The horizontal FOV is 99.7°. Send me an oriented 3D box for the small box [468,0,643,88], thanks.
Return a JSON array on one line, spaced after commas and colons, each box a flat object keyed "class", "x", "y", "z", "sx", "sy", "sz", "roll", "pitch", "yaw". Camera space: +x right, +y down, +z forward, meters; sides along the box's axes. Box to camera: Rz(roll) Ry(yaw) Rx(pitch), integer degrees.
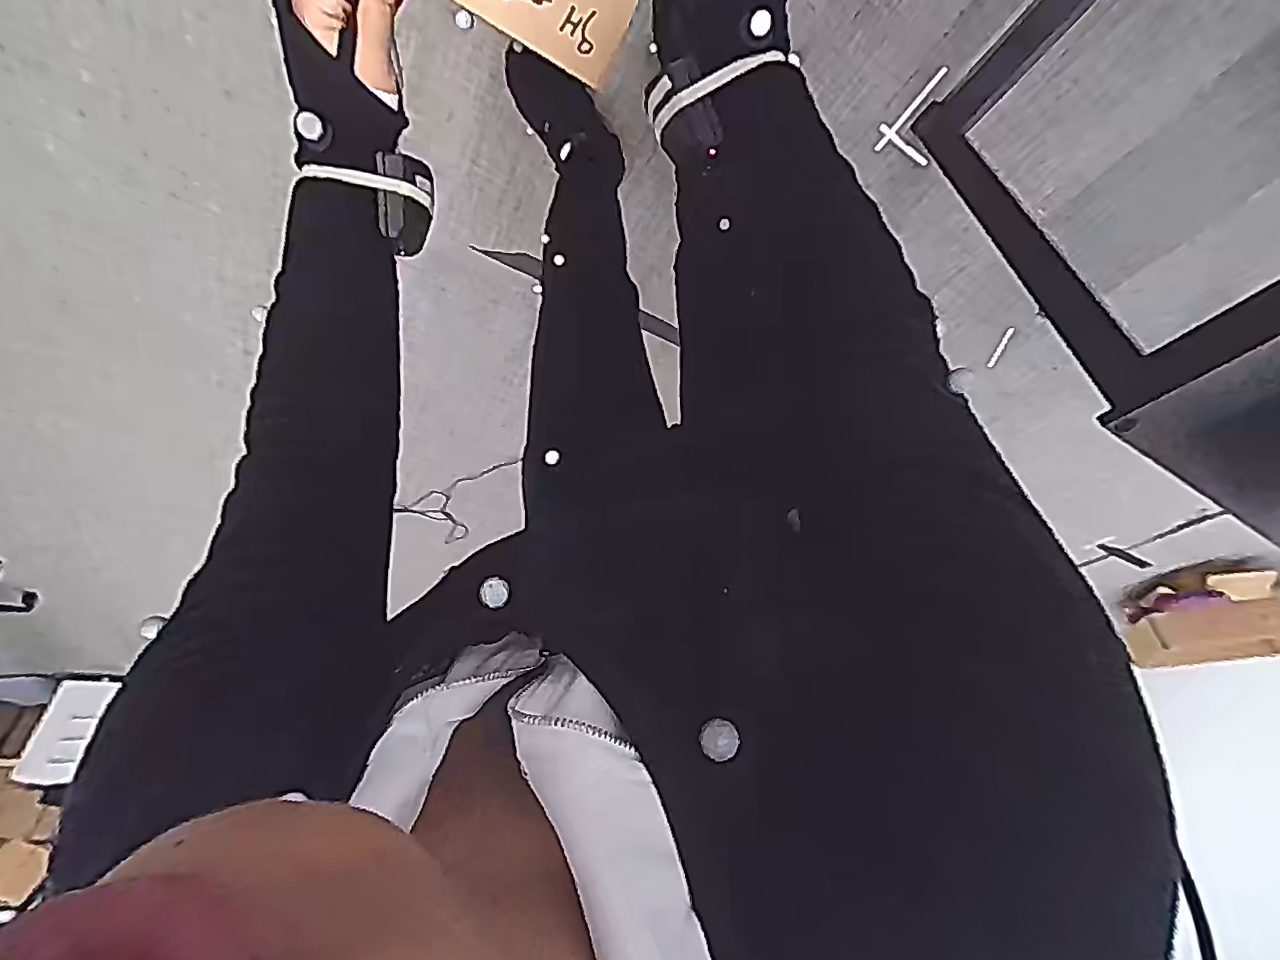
[{"class": "small box", "x": -0.061, "y": -0.423, "z": 0.373, "sx": 0.168, "sy": 0.176, "sz": 0.179, "roll": 19, "pitch": 129, "yaw": -22}]
